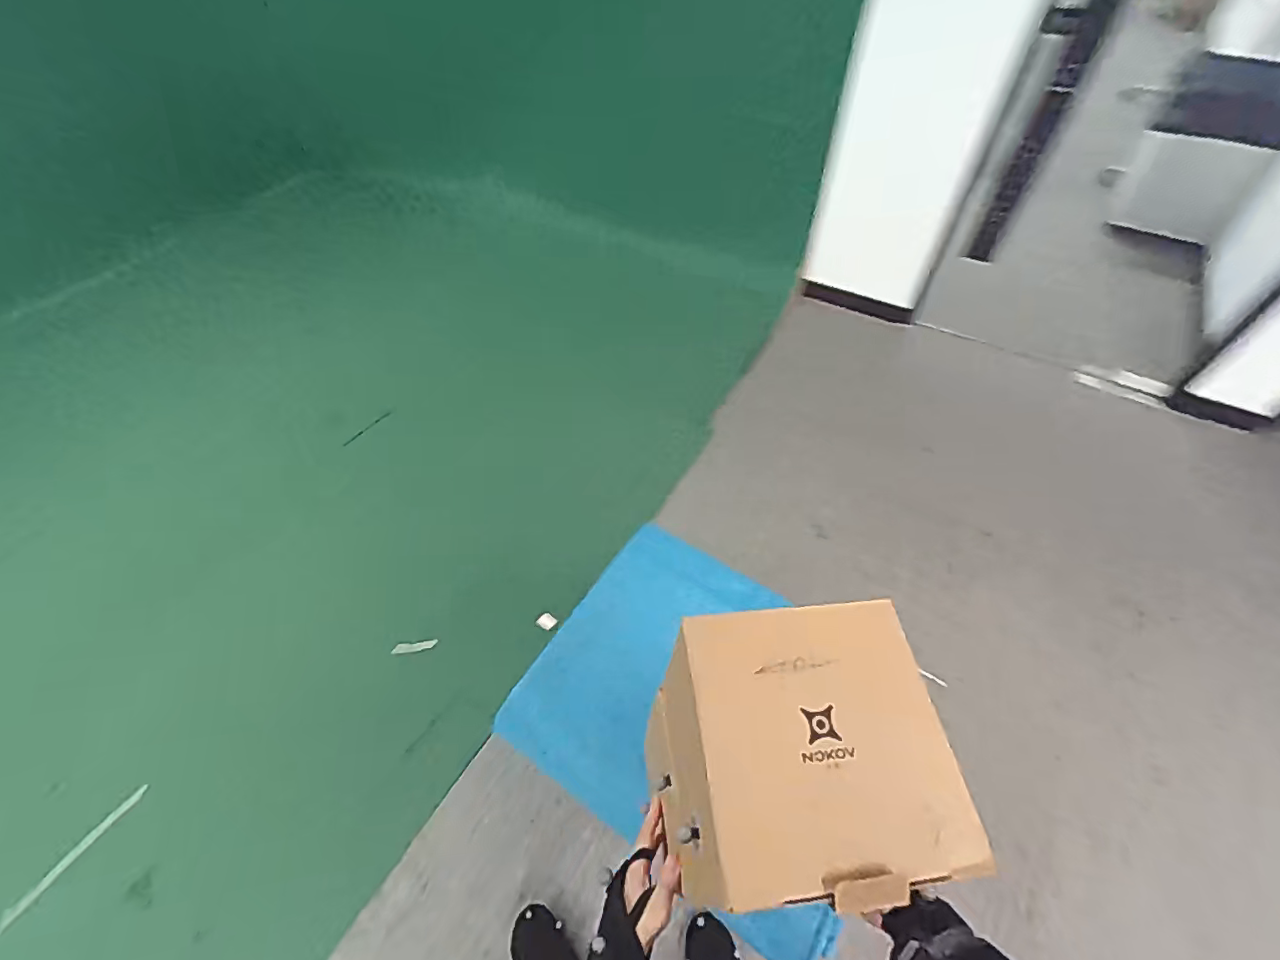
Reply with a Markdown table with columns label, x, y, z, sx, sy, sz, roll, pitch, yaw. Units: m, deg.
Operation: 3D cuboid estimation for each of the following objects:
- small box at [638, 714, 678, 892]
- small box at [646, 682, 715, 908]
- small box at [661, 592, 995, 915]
| label | x | y | z | sx | sy | sz | roll | pitch | yaw |
| --- | --- | --- | --- | --- | --- | --- | --- | --- | --- |
| small box | 0.090 | 0.395 | 0.680 | 0.168 | 0.176 | 0.179 | -3 | 55 | -7 |
| small box | 0.102 | 0.302 | 0.546 | 0.168 | 0.176 | 0.179 | -6 | 55 | -8 |
| small box | 0.112 | 0.206 | 0.415 | 0.168 | 0.176 | 0.179 | -4 | 54 | -7 |
